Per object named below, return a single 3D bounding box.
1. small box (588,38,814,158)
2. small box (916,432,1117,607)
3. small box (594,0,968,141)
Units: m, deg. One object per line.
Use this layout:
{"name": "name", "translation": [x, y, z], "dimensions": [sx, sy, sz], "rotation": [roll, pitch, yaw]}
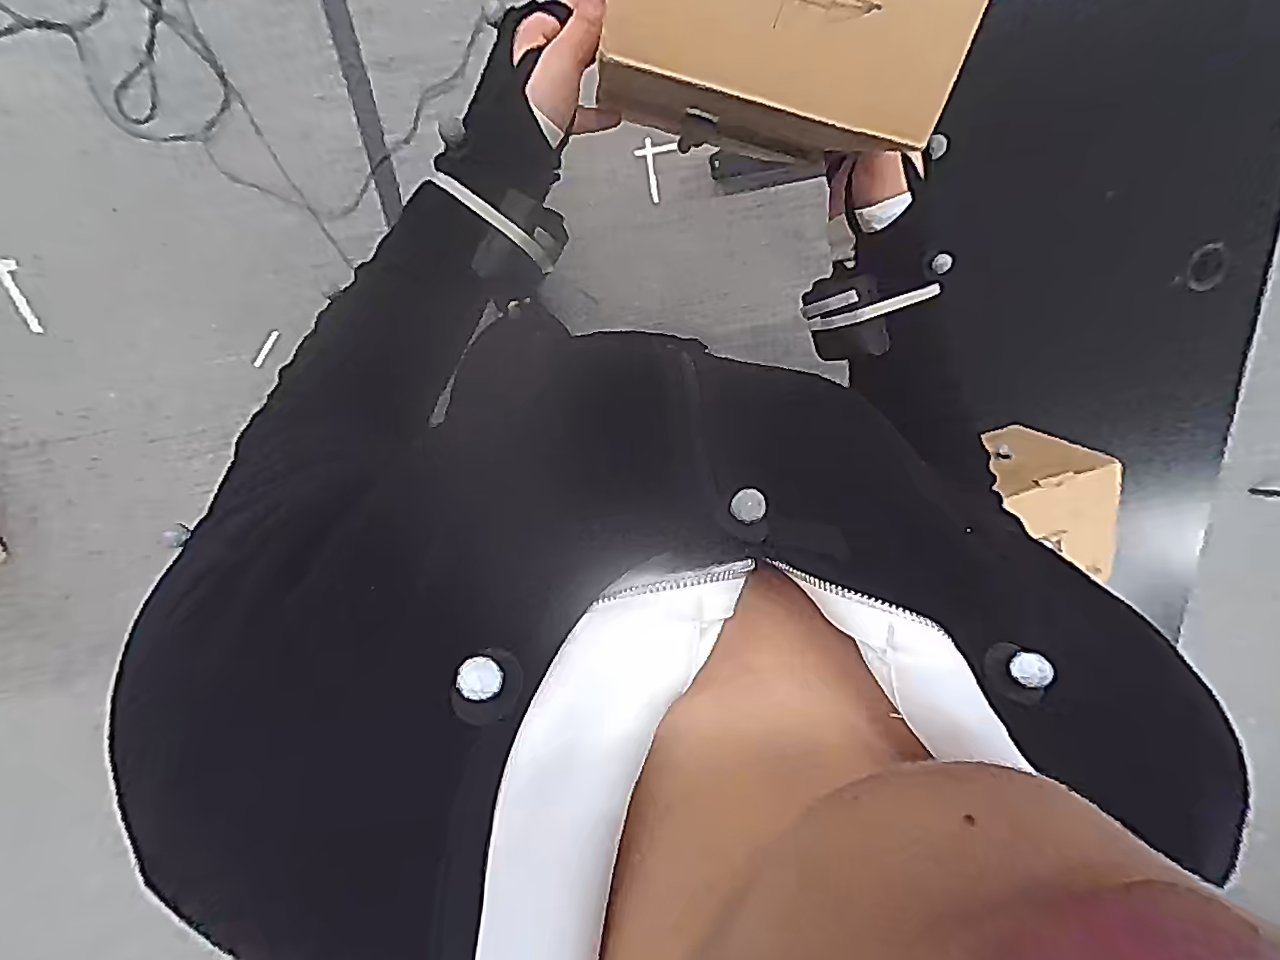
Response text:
{"name": "small box", "translation": [0.059, -0.372, 0.427], "dimensions": [0.179, 0.176, 0.168], "rotation": [9, 120, -10]}
{"name": "small box", "translation": [0.512, 0.043, 0.759], "dimensions": [0.168, 0.176, 0.179], "rotation": [-16, 111, -2]}
{"name": "small box", "translation": [0.070, -0.296, 0.283], "dimensions": [0.168, 0.176, 0.179], "rotation": [8, 121, -9]}
